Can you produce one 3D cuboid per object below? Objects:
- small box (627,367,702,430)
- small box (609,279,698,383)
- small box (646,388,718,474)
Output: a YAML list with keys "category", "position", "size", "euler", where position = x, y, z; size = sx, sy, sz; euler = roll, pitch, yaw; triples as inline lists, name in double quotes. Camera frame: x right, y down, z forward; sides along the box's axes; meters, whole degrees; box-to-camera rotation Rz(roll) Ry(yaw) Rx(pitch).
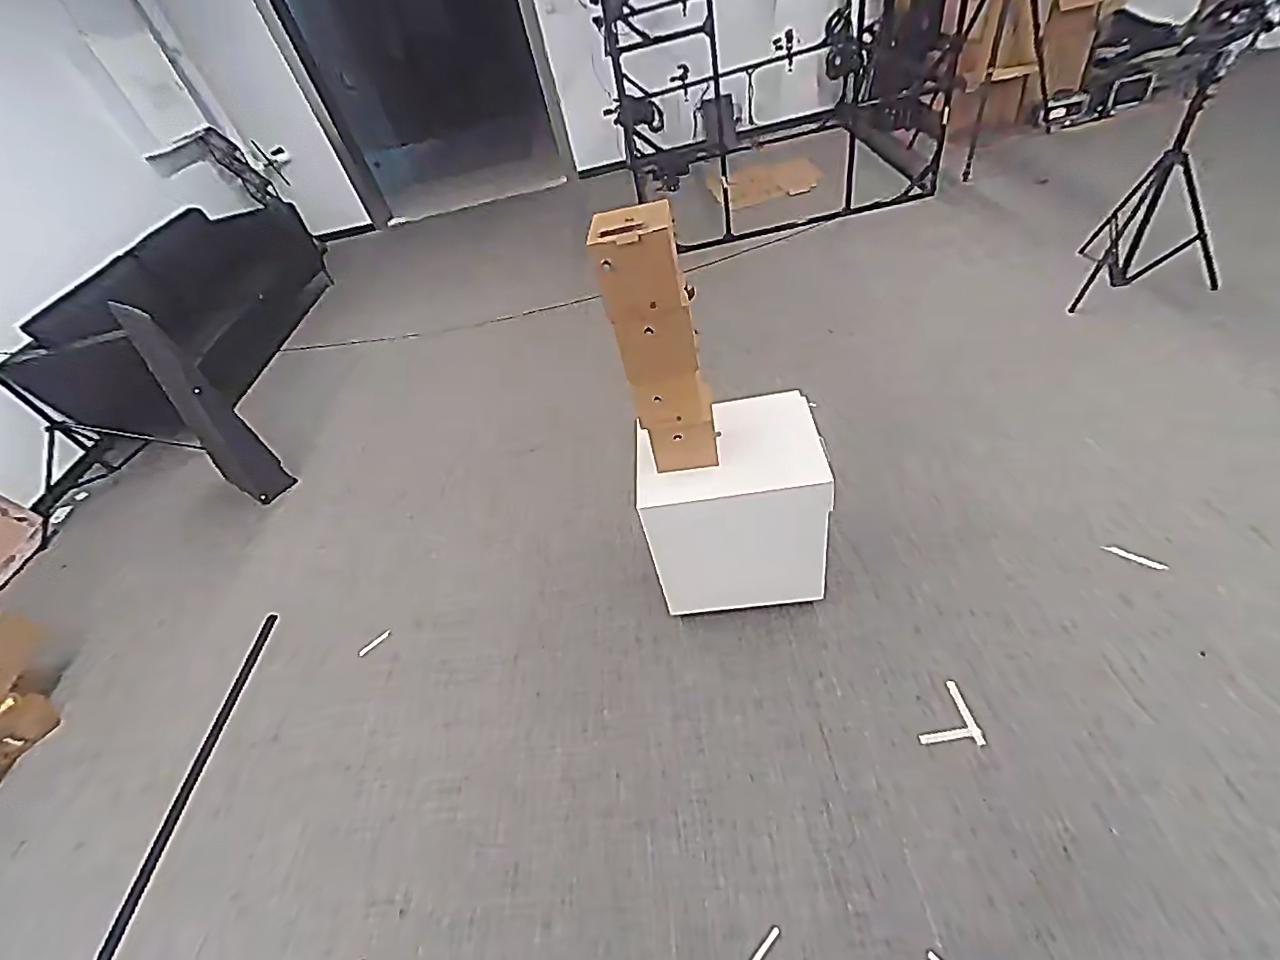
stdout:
- category: "small box"
  position: [0.069, -0.243, 1.403]
  size: [0.168, 0.176, 0.179]
  euler: [-6, 44, 10]
- category: "small box"
  position: [0.035, -0.348, 1.279]
  size: [0.179, 0.176, 0.168]
  euler: [-8, 45, 8]
- category: "small box"
  position: [0.119, -0.133, 1.512]
  size: [0.179, 0.176, 0.168]
  euler: [-7, 45, 8]
